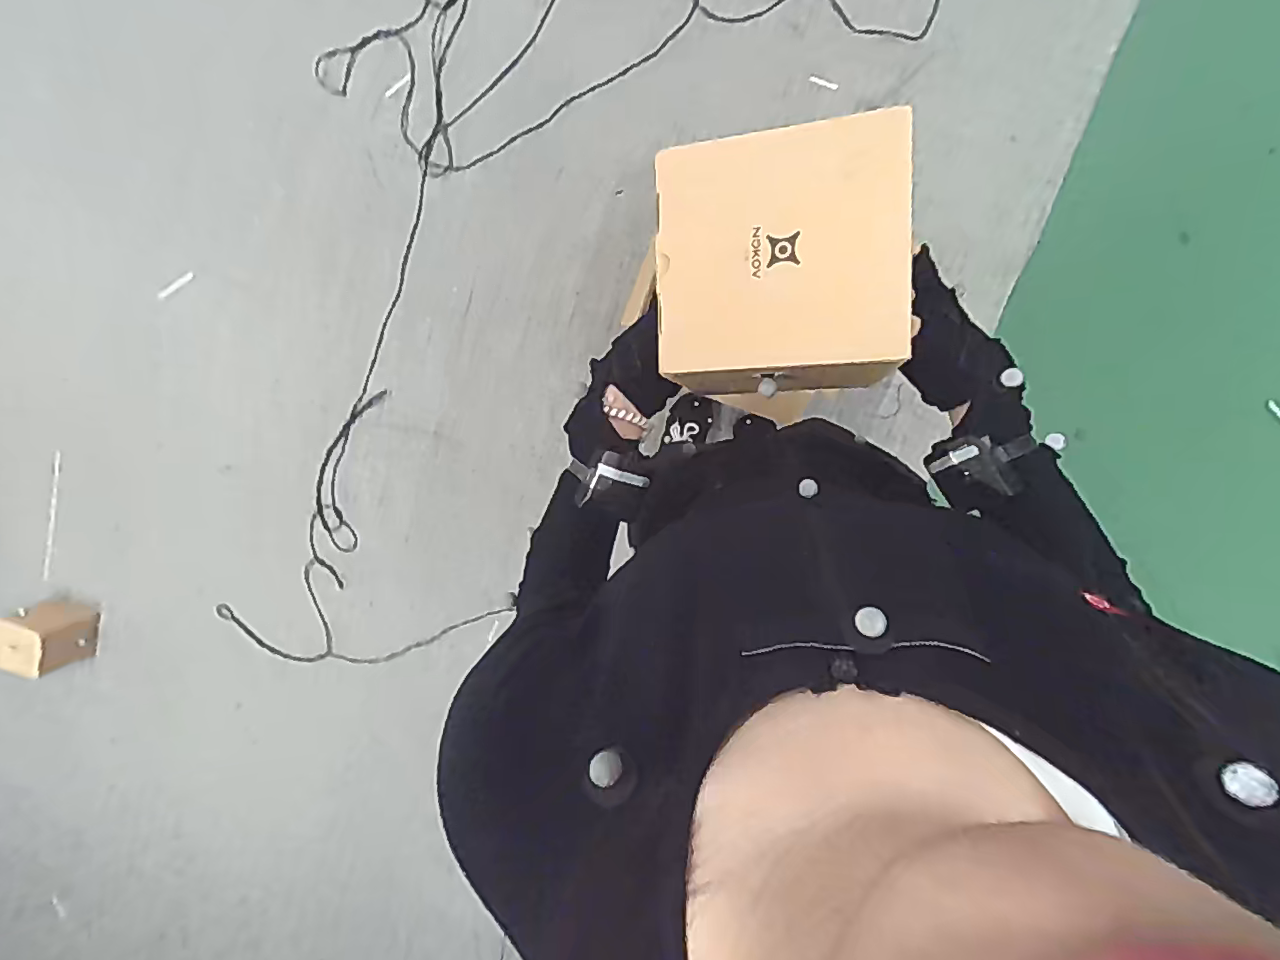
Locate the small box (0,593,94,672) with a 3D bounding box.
[{"bbox_3d":[-1.934,0.481,1.740,0.179,0.176,0.168,18,102,3],"label":"small box"}]

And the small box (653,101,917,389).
[{"bbox_3d":[0.117,-0.167,0.449,0.179,0.176,0.168,-1,95,18],"label":"small box"}]

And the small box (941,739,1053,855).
[{"bbox_3d":[0.943,0.842,1.450,0.168,0.176,0.179,17,100,4],"label":"small box"}]
